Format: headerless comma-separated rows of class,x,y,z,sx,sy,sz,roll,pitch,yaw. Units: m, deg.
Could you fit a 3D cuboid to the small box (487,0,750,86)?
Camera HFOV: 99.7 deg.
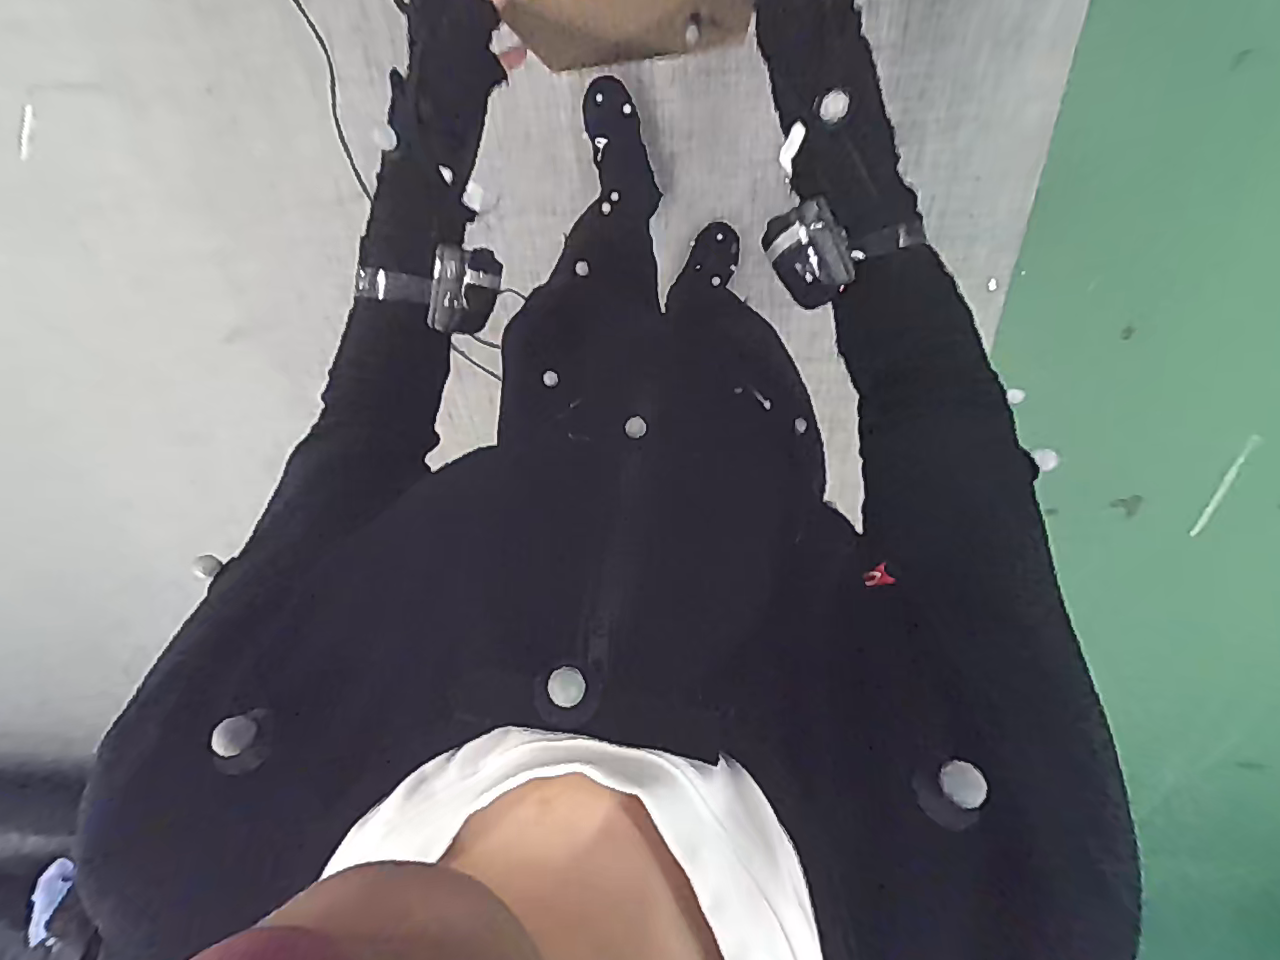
small box,-0.011,-0.409,0.383,0.179,0.176,0.168,-3,112,10
